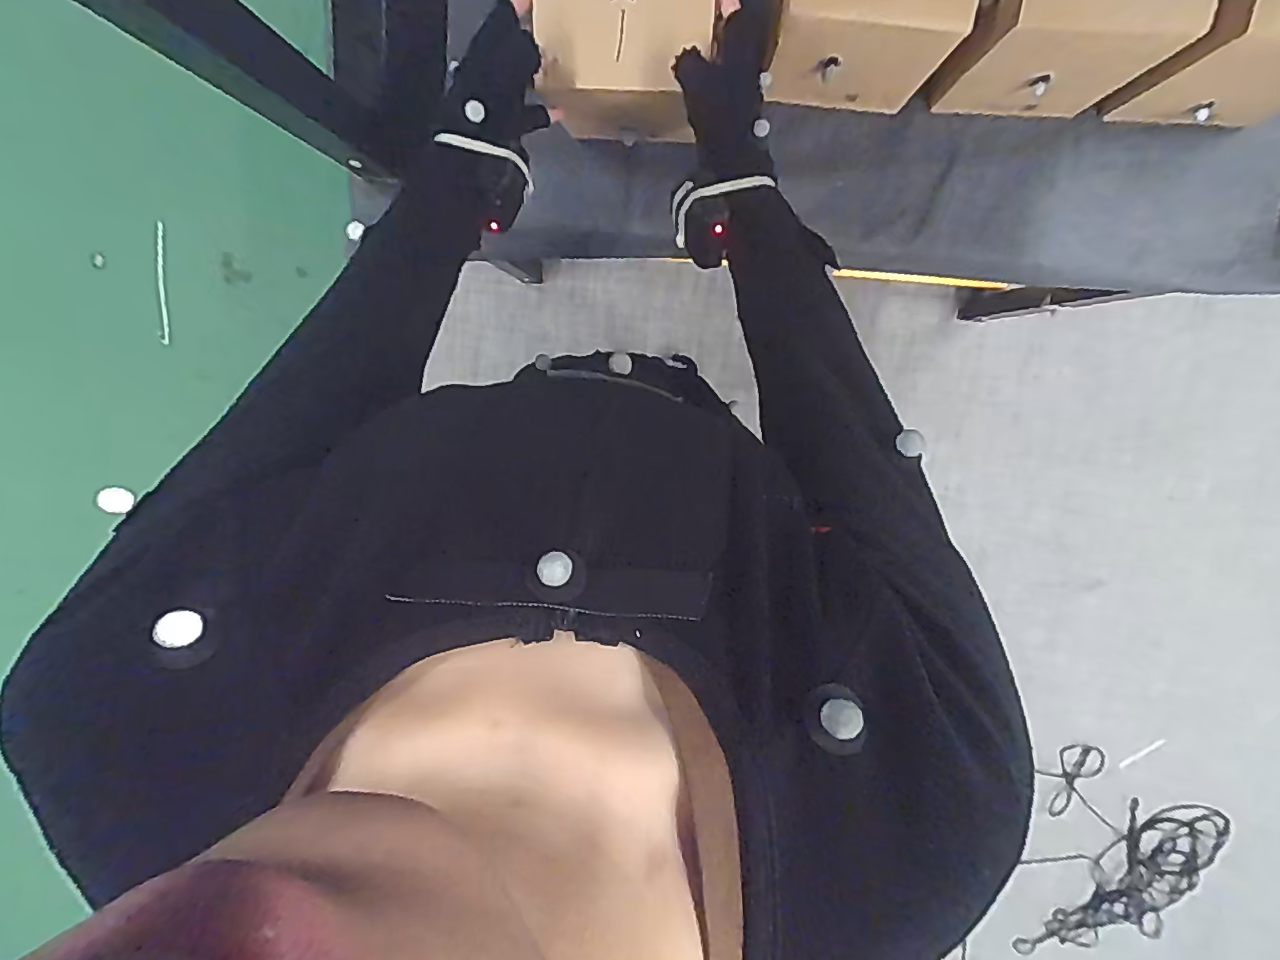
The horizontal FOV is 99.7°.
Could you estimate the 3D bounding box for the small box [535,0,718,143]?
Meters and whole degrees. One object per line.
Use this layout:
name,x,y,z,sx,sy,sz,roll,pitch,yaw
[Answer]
small box,-0.005,-0.472,0.555,0.168,0.176,0.179,5,109,5
